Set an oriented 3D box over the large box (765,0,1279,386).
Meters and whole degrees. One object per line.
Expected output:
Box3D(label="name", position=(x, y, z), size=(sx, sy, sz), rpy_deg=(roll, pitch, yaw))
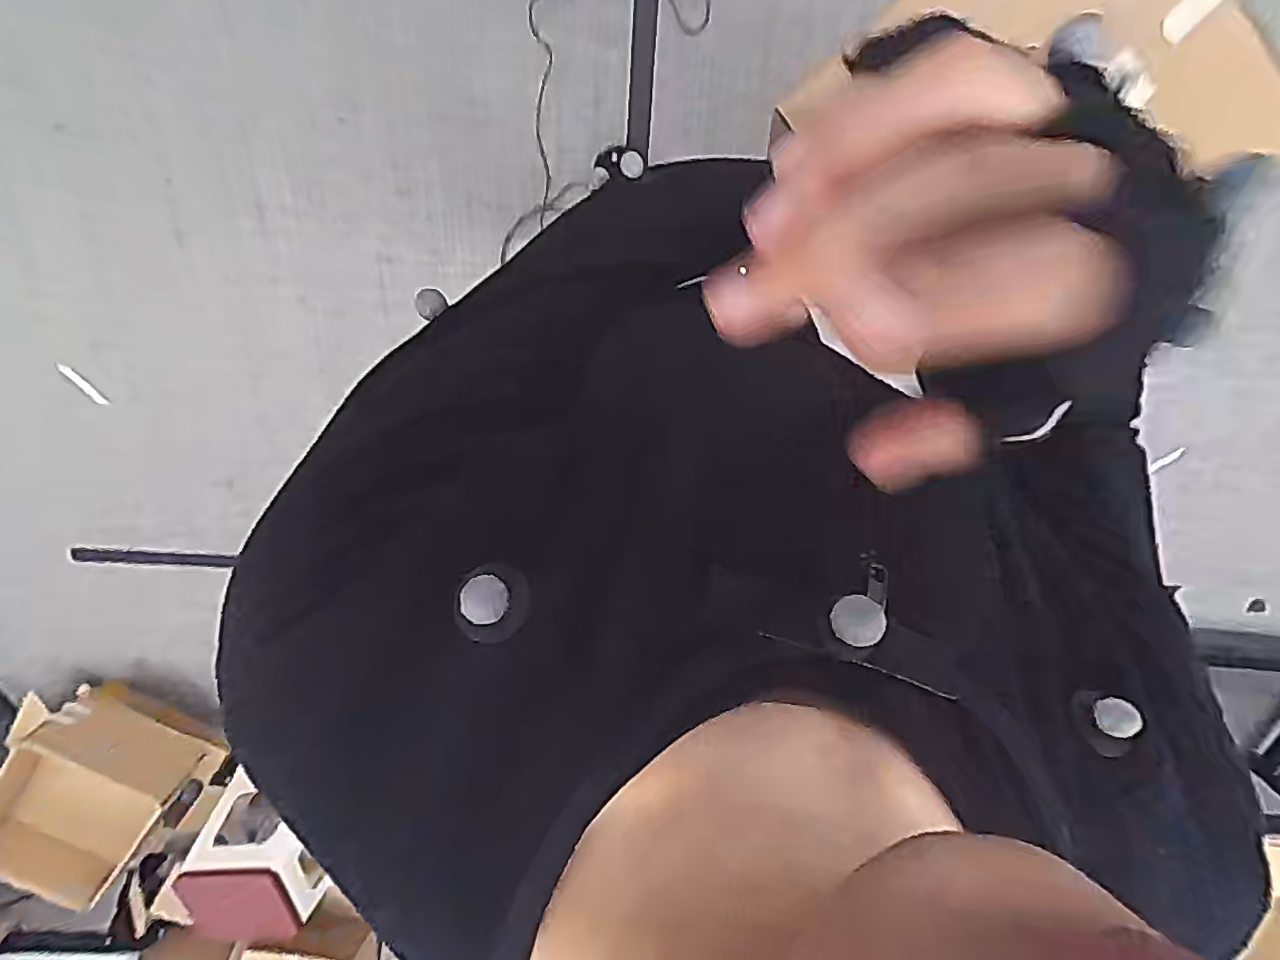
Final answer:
Box3D(label="large box", position=(0.375, -0.333, 0.669), size=(0.320, 0.408, 0.320), rpy_deg=(-34, 93, 15))
